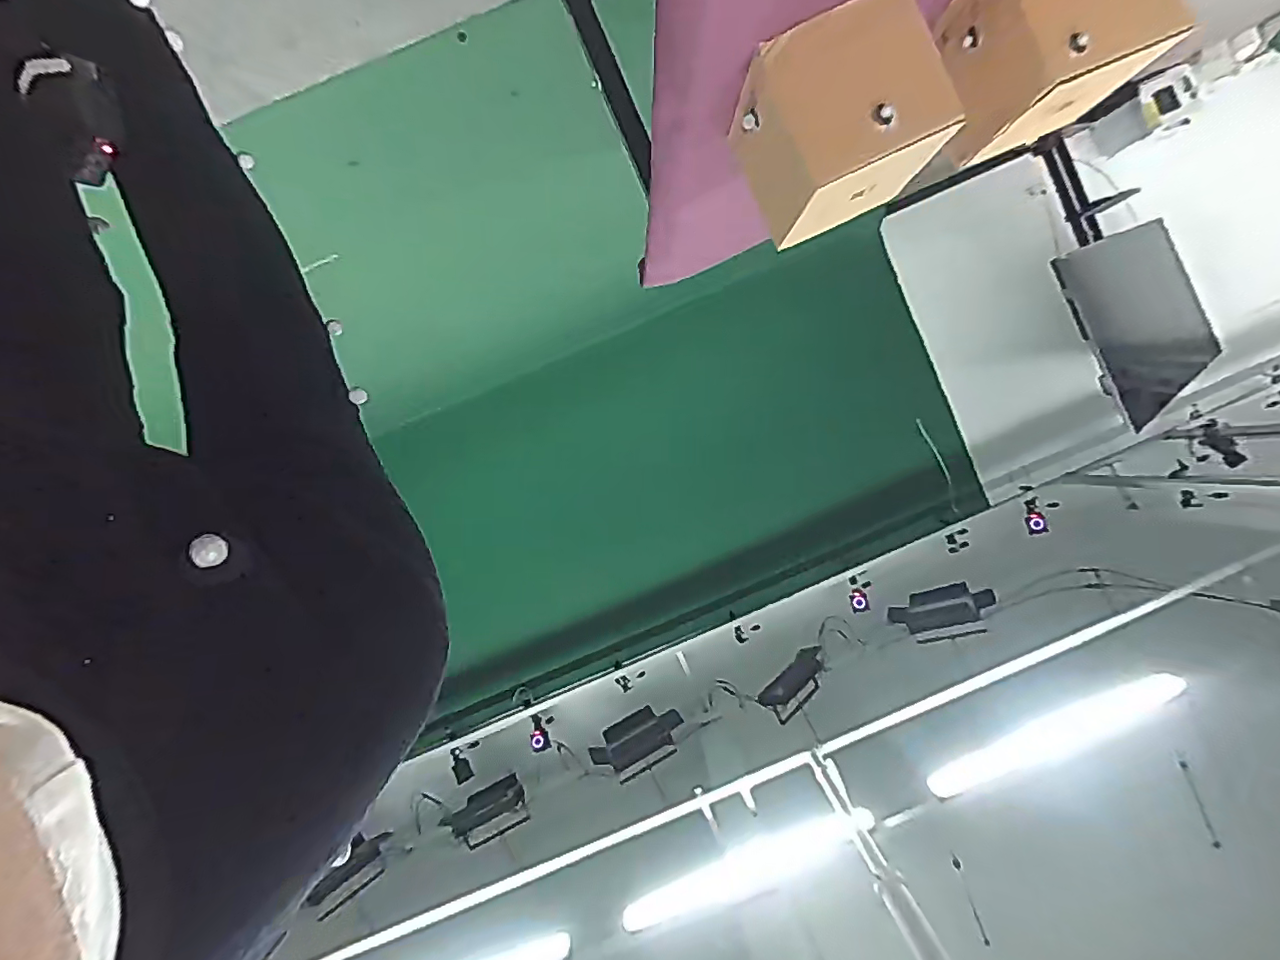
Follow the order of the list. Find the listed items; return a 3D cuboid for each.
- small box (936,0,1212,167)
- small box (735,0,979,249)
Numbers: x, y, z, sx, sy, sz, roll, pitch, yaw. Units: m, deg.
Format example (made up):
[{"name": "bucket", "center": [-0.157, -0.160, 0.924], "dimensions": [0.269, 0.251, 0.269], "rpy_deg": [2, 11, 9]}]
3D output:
[{"name": "small box", "center": [0.486, -0.521, 0.636], "dimensions": [0.179, 0.176, 0.168], "rpy_deg": [-22, -177, -1]}, {"name": "small box", "center": [0.235, -0.409, 0.627], "dimensions": [0.179, 0.176, 0.168], "rpy_deg": [-24, -179, 0]}]
